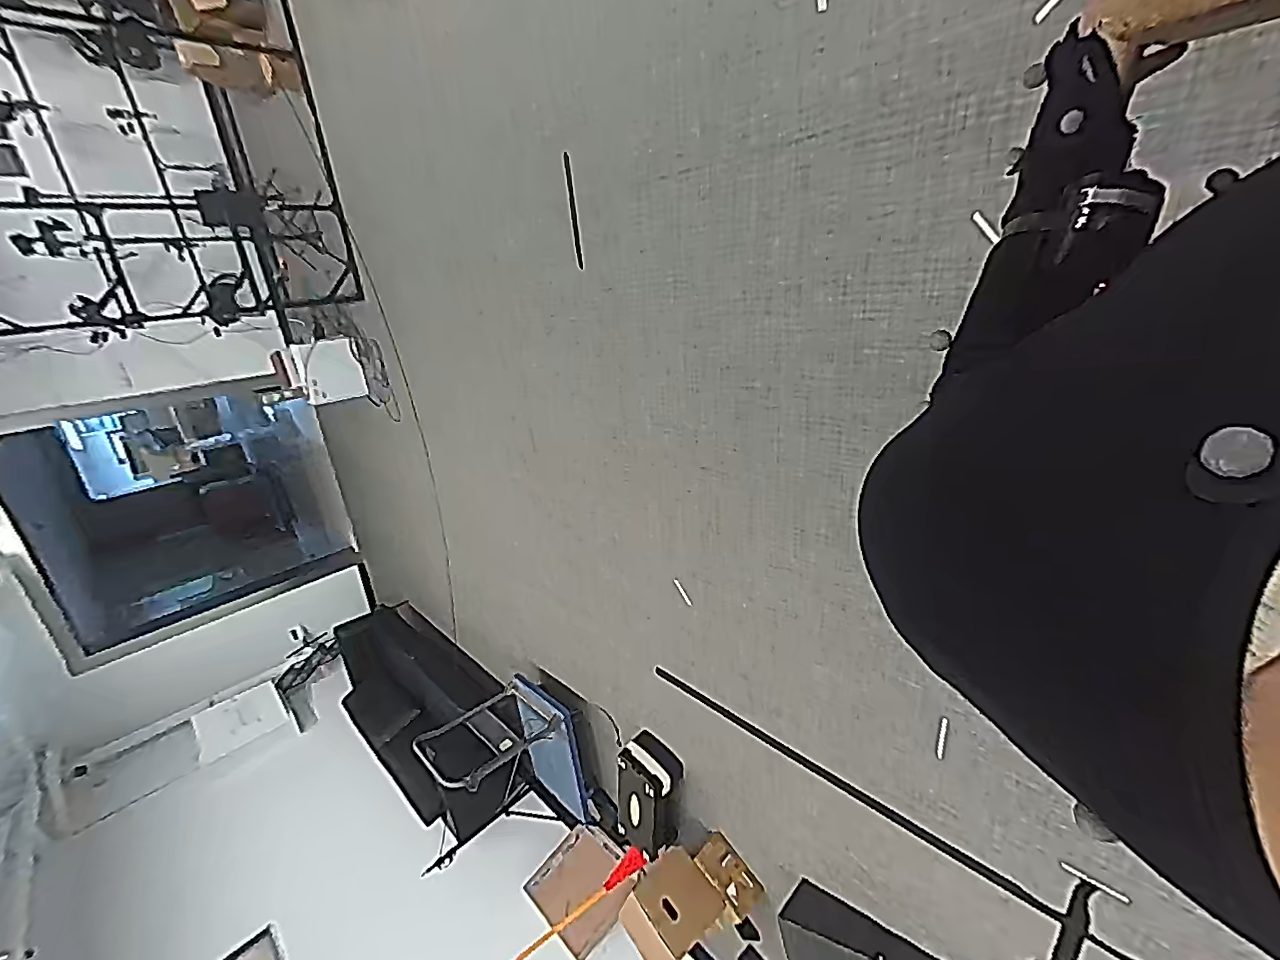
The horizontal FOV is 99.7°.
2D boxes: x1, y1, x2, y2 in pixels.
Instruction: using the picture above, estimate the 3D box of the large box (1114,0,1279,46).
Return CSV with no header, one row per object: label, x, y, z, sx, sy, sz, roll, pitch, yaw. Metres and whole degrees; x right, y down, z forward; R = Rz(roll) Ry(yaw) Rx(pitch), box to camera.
large box,0.403,-0.361,0.122,0.408,0.320,0.320,12,127,42
